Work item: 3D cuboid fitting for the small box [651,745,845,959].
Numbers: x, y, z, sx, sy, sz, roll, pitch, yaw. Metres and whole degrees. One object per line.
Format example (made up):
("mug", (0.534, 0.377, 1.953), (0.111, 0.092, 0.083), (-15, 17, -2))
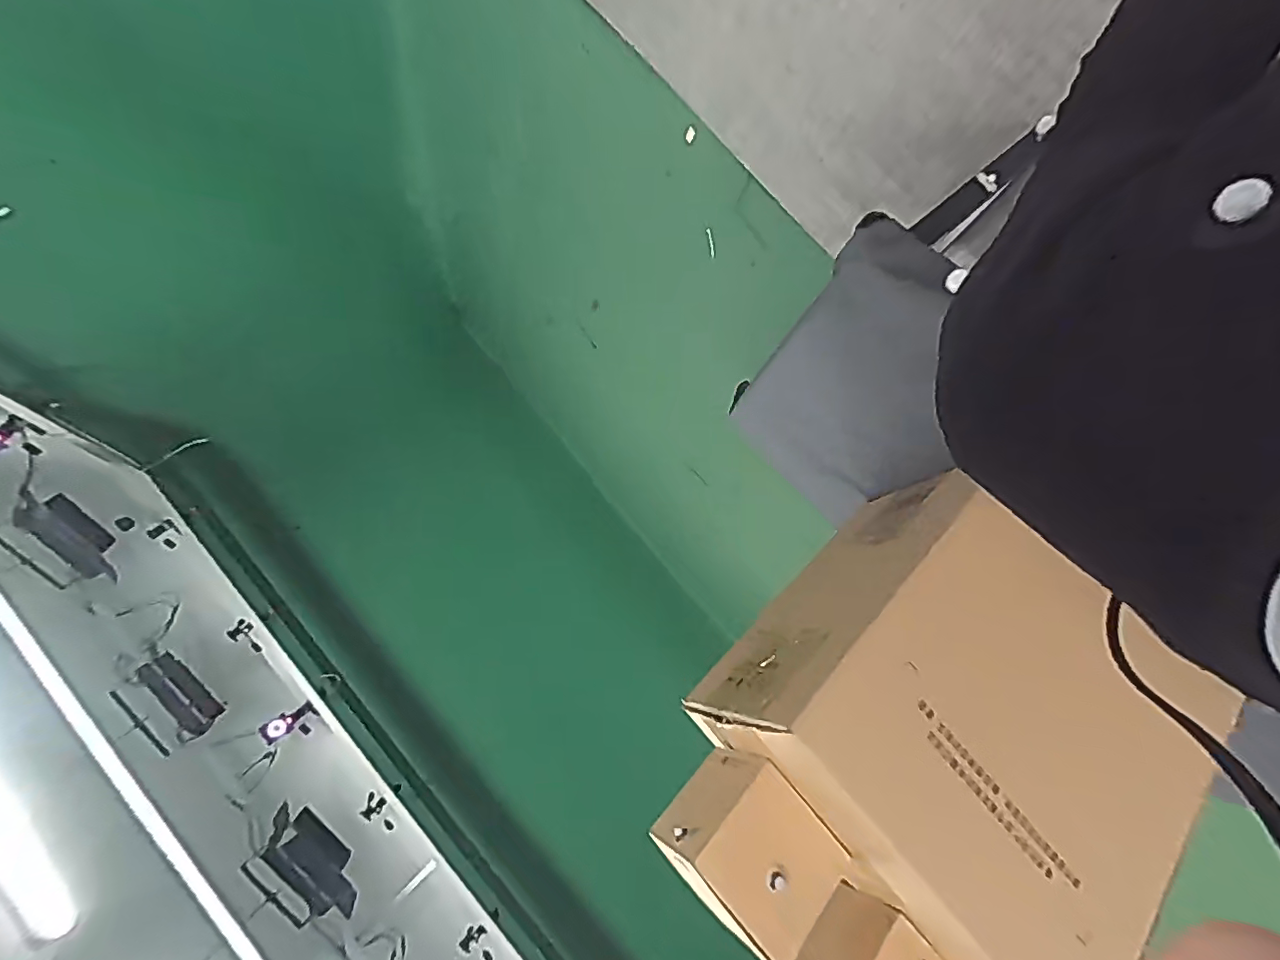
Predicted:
("small box", (0.153, 0.518, 0.773), (0.179, 0.176, 0.168), (49, 153, 3))

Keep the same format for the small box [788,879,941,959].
("small box", (0.322, 0.709, 0.754), (0.168, 0.176, 0.179), (50, 154, 5))
